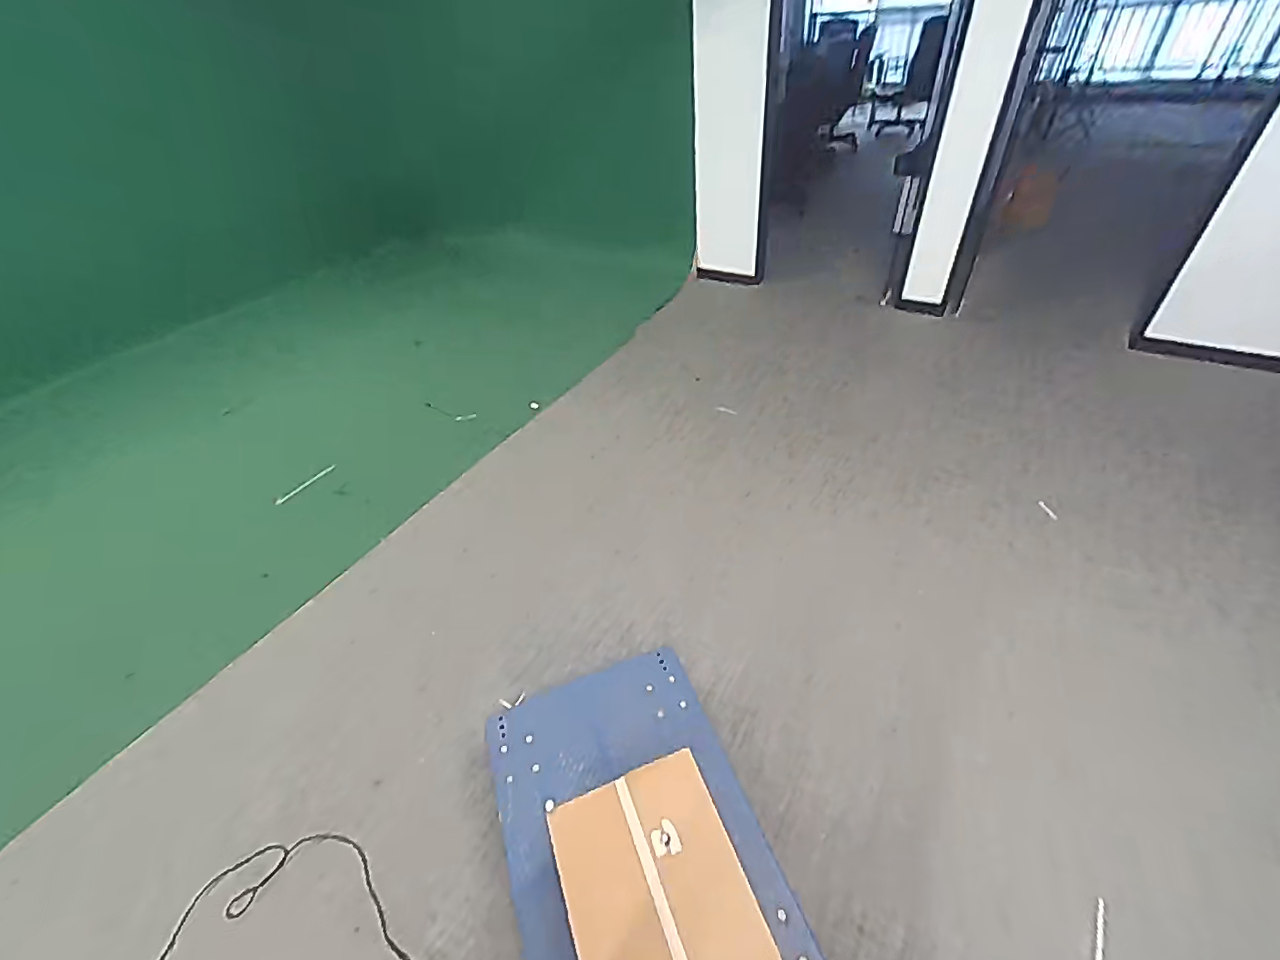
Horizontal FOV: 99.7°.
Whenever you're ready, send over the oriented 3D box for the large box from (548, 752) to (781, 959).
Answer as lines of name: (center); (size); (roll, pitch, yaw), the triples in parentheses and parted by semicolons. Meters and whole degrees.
large box: (0.045, 0.849, 1.070); (0.320, 0.320, 0.408); (-18, 43, -12)
